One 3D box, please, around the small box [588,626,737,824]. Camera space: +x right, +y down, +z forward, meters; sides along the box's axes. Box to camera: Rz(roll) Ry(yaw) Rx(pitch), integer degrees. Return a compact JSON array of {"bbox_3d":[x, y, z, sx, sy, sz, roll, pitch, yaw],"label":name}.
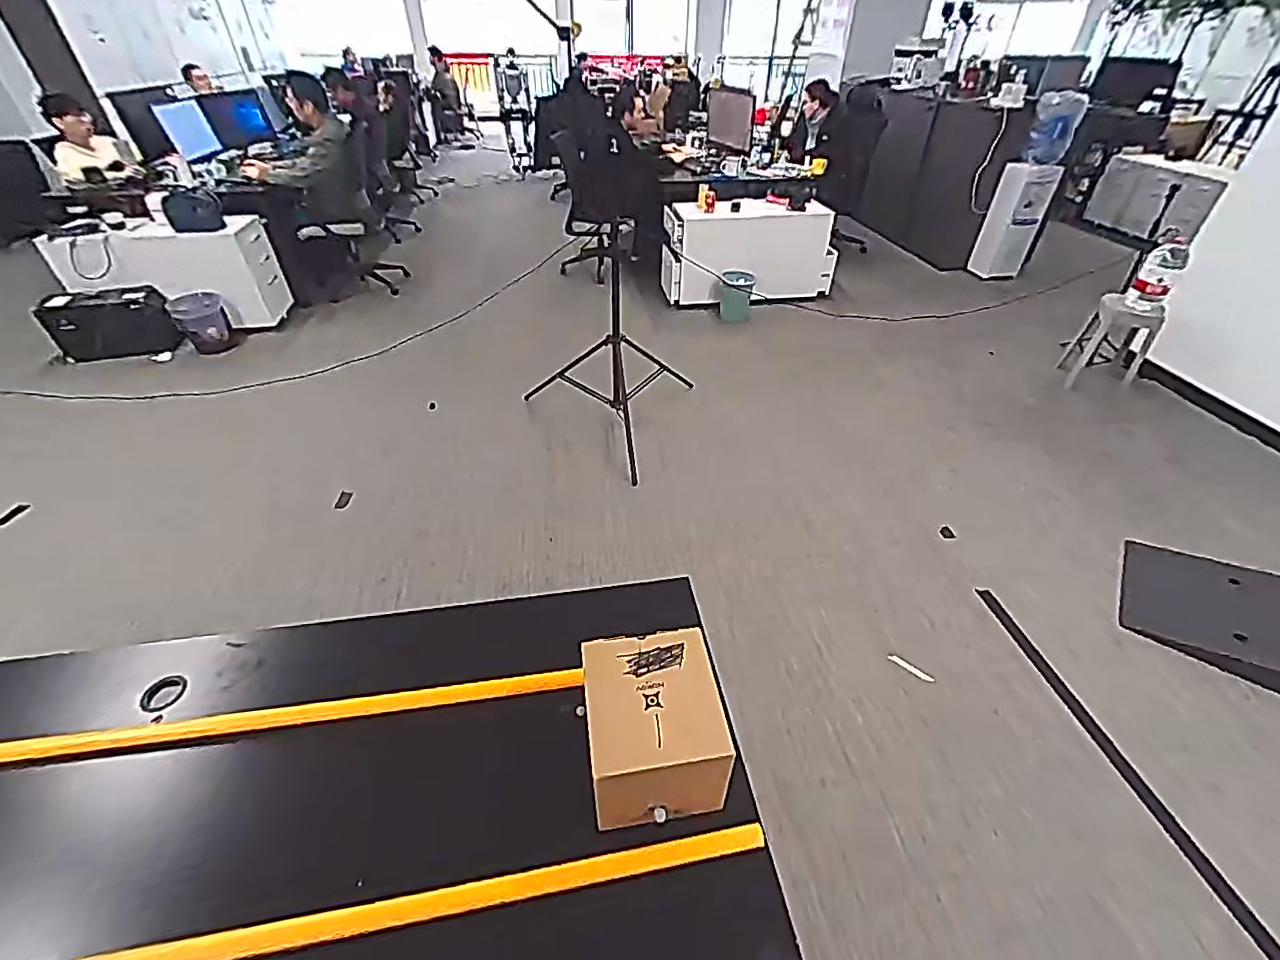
[{"bbox_3d":[0.019,0.324,0.724,0.168,0.176,0.179,-6,41,-6],"label":"small box"}]
